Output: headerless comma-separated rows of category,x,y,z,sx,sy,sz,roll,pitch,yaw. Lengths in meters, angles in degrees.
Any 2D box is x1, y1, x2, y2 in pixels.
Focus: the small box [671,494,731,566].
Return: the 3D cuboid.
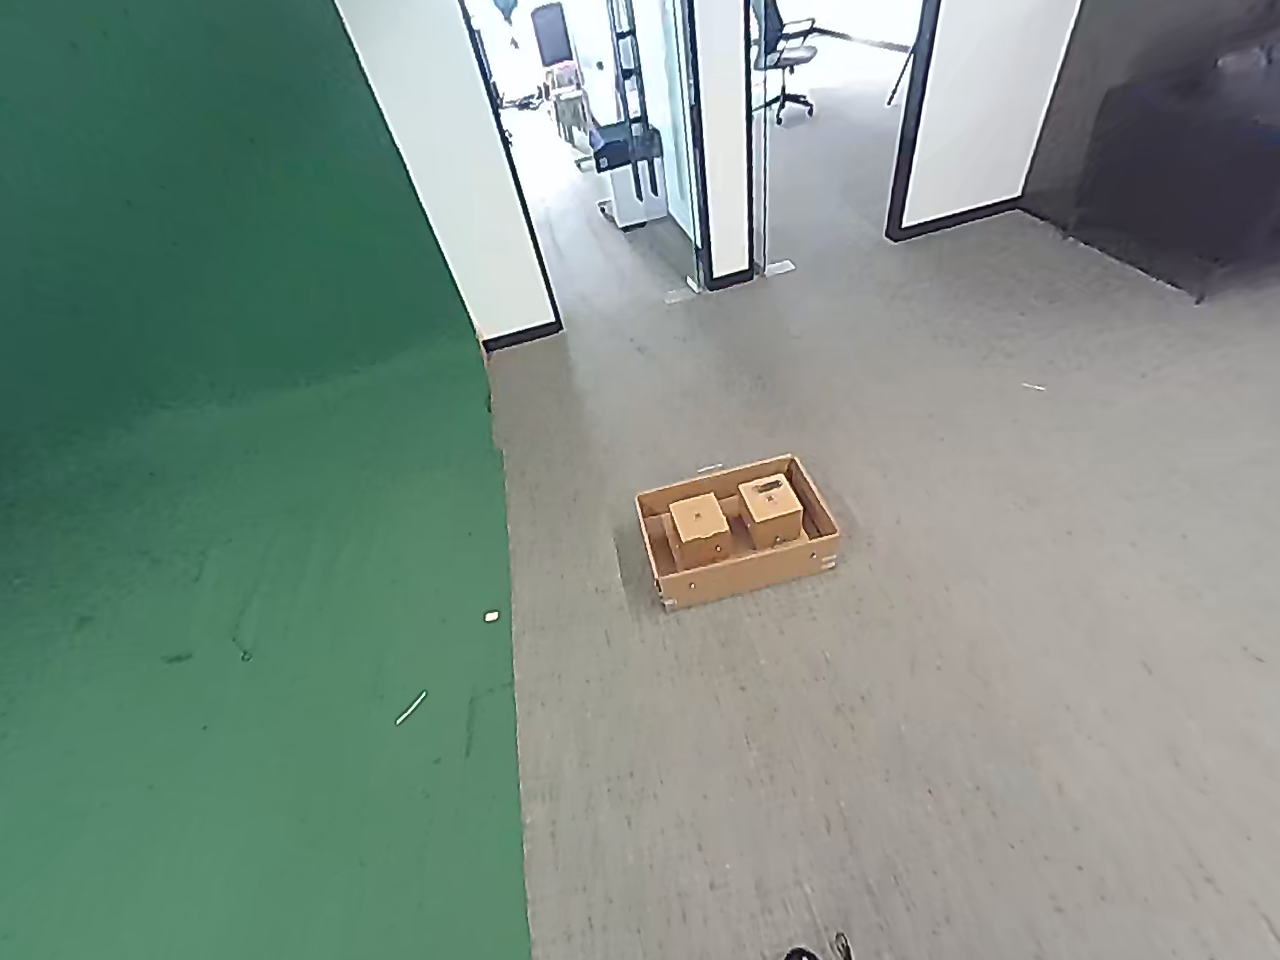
small box,0.214,0.180,1.880,0.168,0.176,0.179,-14,45,-3
